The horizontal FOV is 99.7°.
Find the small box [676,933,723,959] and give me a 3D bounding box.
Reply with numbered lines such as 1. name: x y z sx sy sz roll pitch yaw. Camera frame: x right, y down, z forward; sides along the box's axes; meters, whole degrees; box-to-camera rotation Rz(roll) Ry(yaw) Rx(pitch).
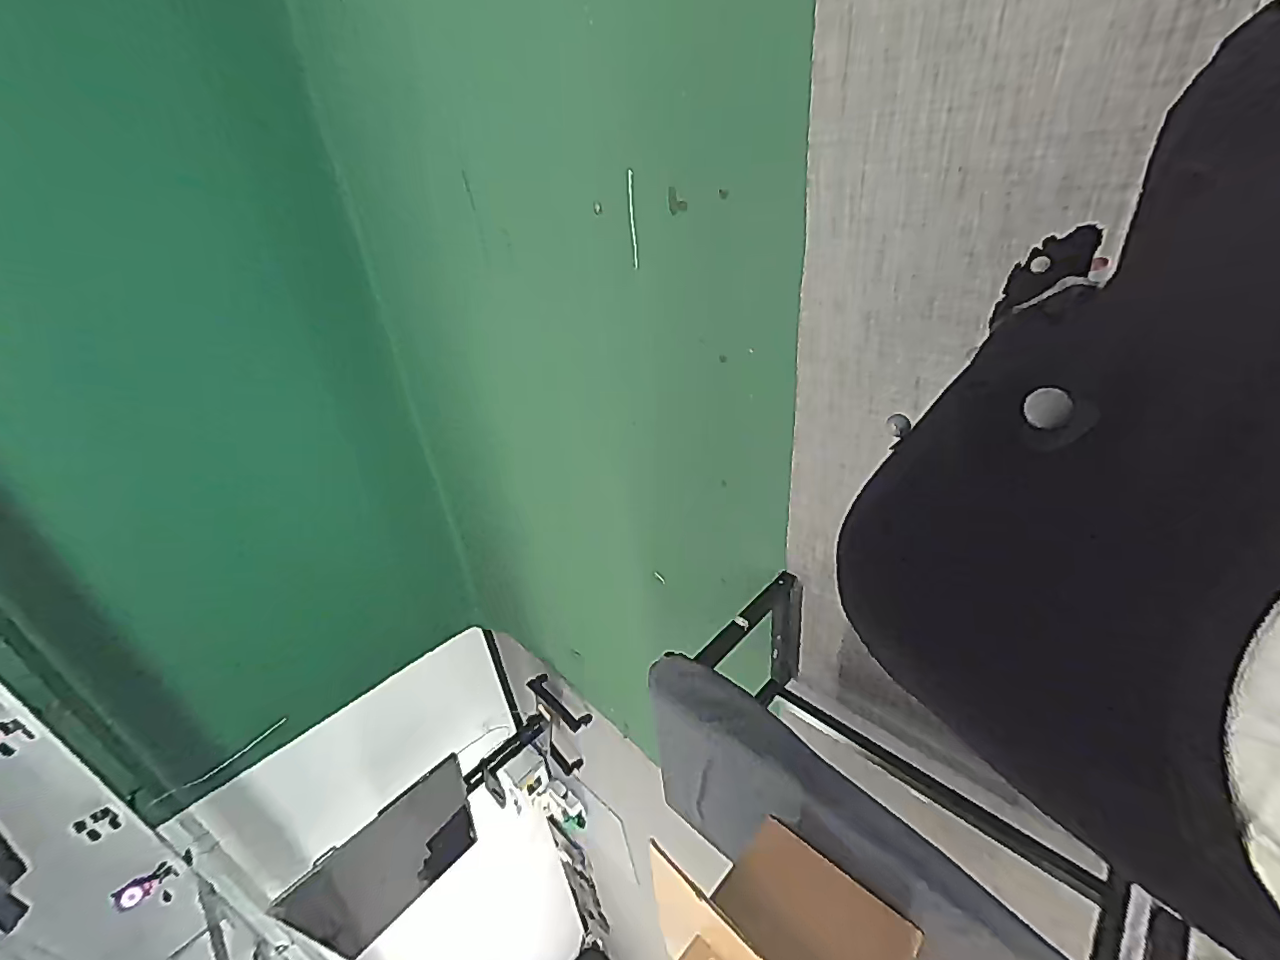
1. small box: 0.139 1.183 1.209 0.168 0.176 0.179 25 132 40
